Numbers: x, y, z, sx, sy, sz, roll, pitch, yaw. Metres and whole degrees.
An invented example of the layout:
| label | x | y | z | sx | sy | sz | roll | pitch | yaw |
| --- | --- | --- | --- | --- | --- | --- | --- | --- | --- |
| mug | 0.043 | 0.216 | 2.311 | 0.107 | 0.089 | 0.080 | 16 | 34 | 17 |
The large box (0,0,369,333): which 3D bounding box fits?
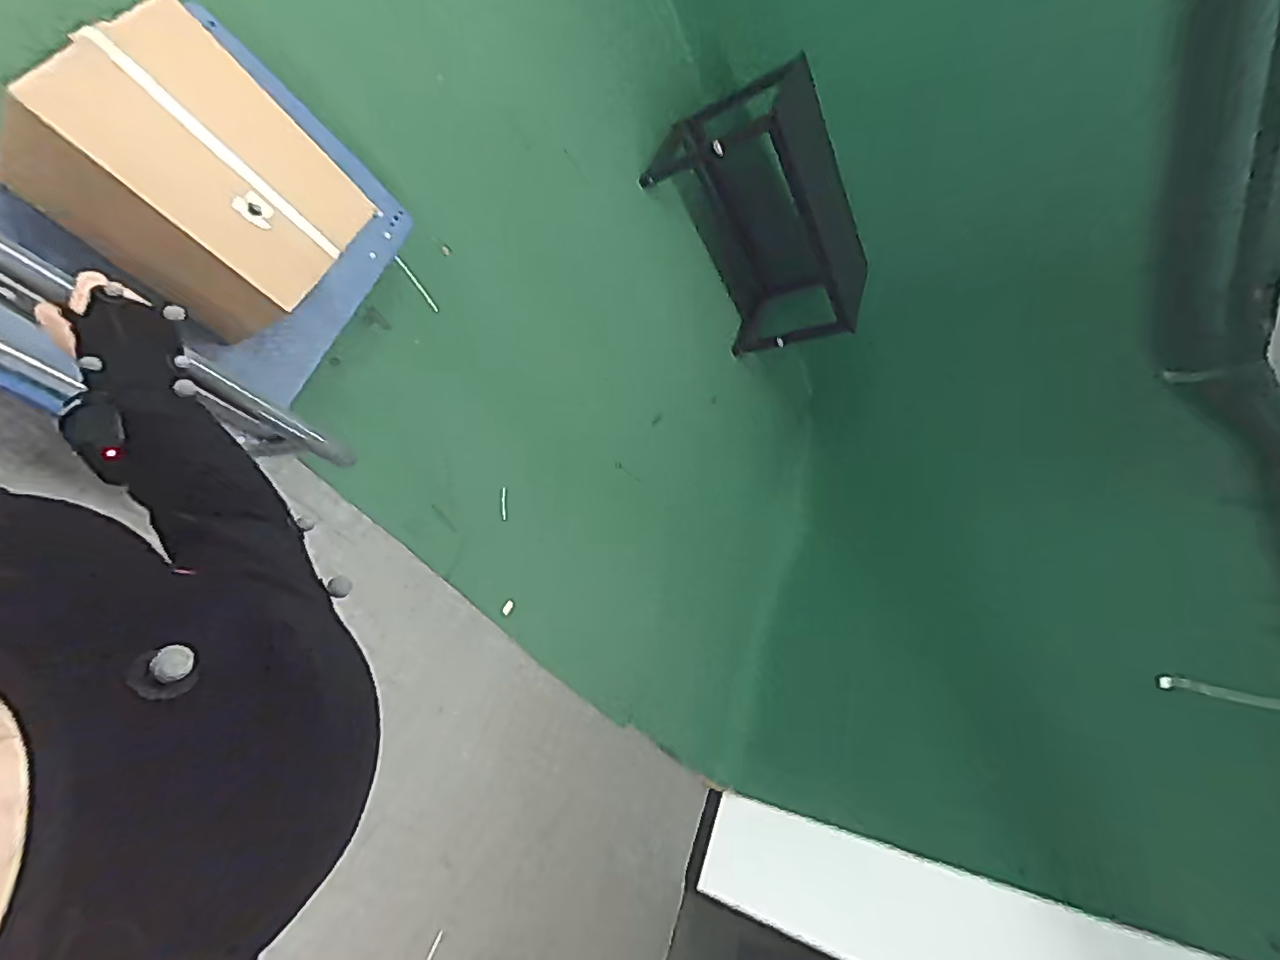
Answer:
| label | x | y | z | sx | sy | sz | roll | pitch | yaw |
| --- | --- | --- | --- | --- | --- | --- | --- | --- | --- |
| large box | -0.828 | -0.550 | 1.011 | 0.408 | 0.320 | 0.320 | 47 | 53 | -41 |
